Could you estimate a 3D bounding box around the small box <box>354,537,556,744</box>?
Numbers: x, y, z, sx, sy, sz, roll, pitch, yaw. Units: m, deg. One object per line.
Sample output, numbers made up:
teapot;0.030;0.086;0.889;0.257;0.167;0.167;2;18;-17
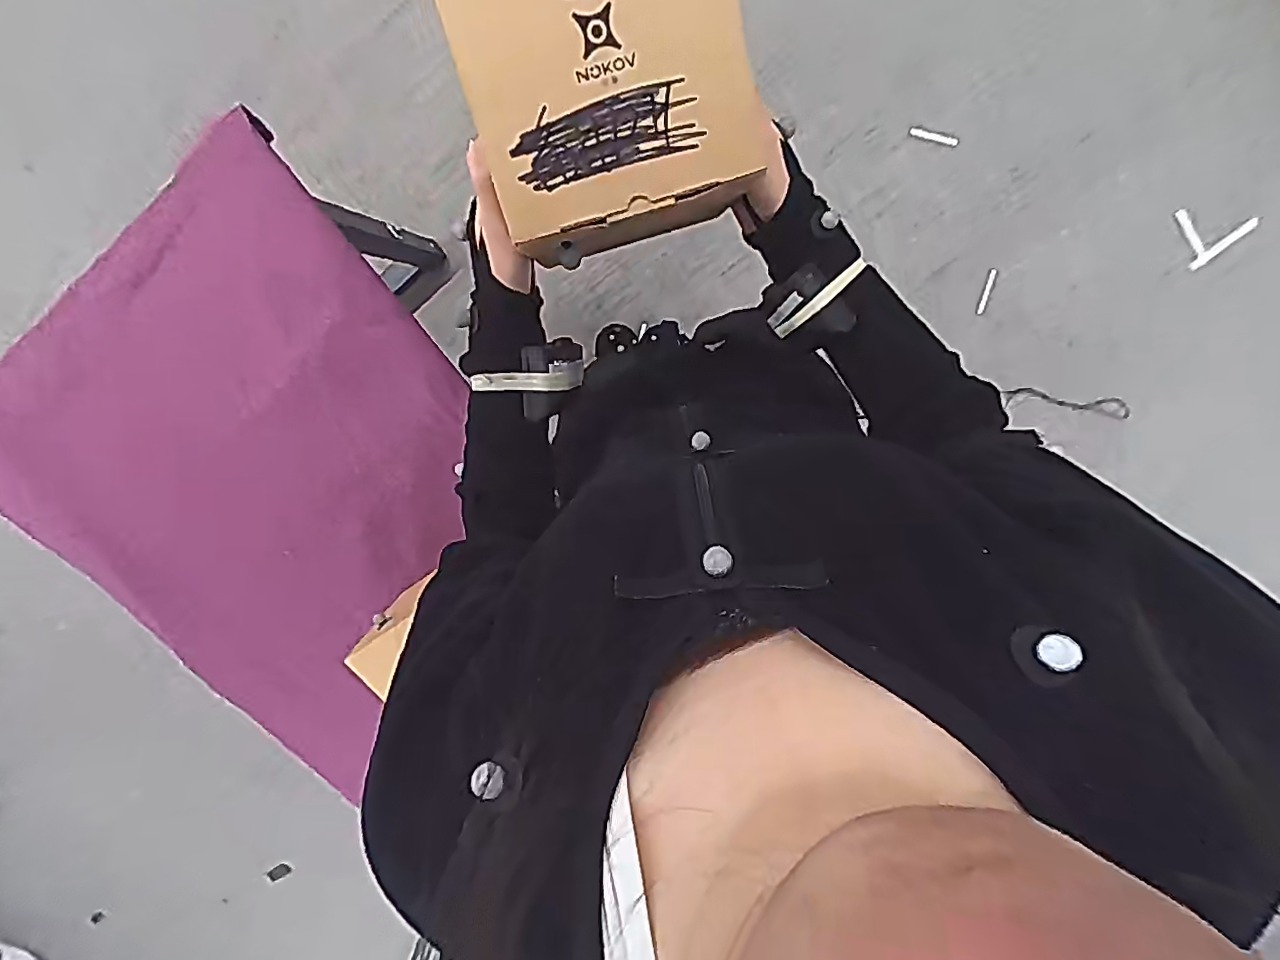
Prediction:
small box;-0.237;0.210;0.743;0.179;0.176;0.168;-34;105;10
